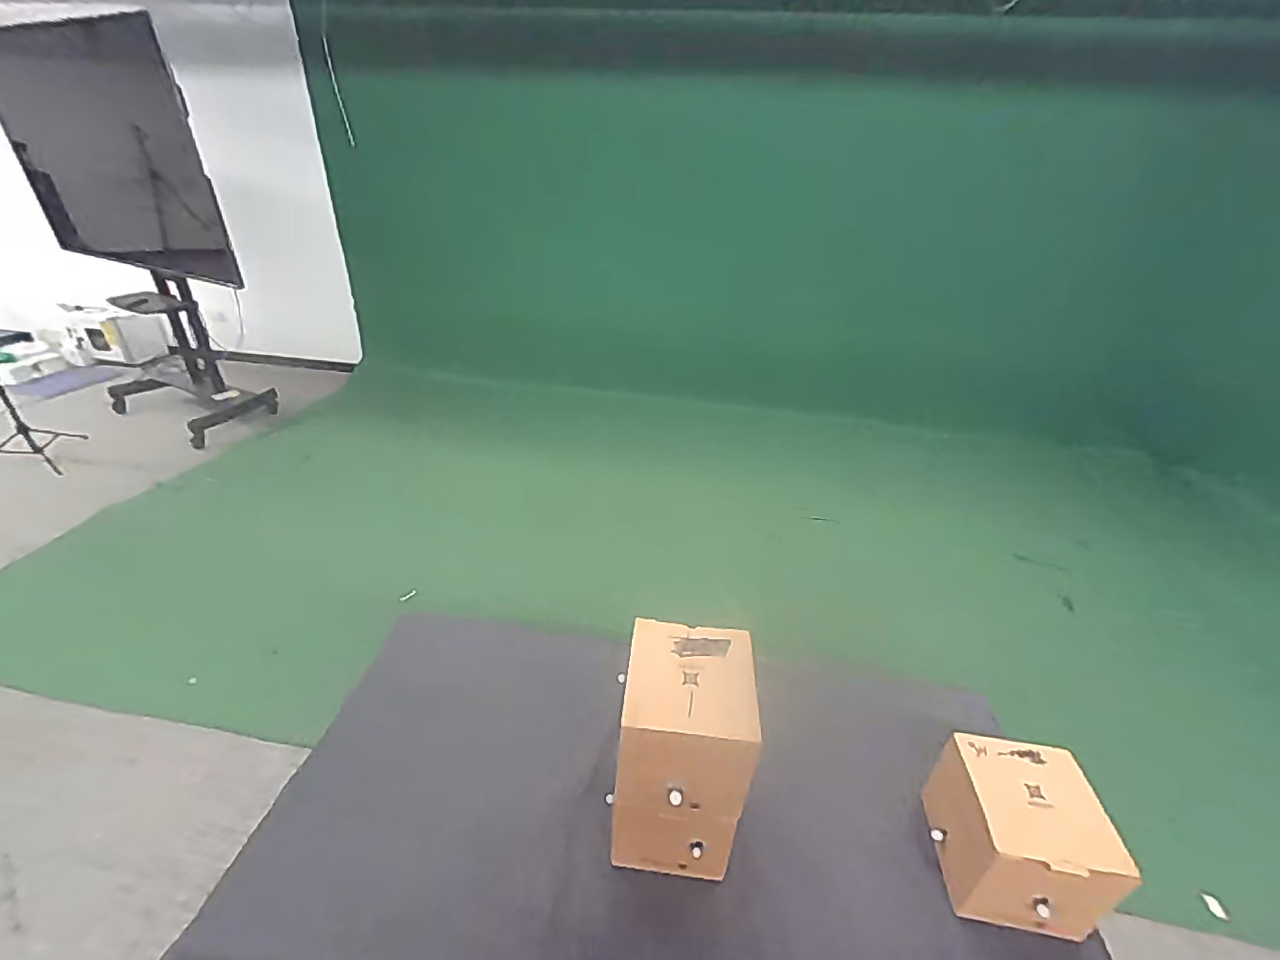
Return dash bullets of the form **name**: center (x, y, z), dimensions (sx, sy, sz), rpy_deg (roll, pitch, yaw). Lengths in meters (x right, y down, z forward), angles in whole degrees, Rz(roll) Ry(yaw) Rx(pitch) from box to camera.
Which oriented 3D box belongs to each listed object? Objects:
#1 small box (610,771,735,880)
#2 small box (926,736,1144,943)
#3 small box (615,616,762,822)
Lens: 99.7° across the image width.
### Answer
- **small box**: center (0.048, 0.453, 0.805), dimensions (0.168, 0.176, 0.179), rpy_deg (7, 29, 4)
- **small box**: center (0.531, 0.502, 0.760), dimensions (0.168, 0.176, 0.179), rpy_deg (7, 30, 7)
- **small box**: center (0.060, 0.312, 0.721), dimensions (0.168, 0.176, 0.179), rpy_deg (6, 31, 3)
